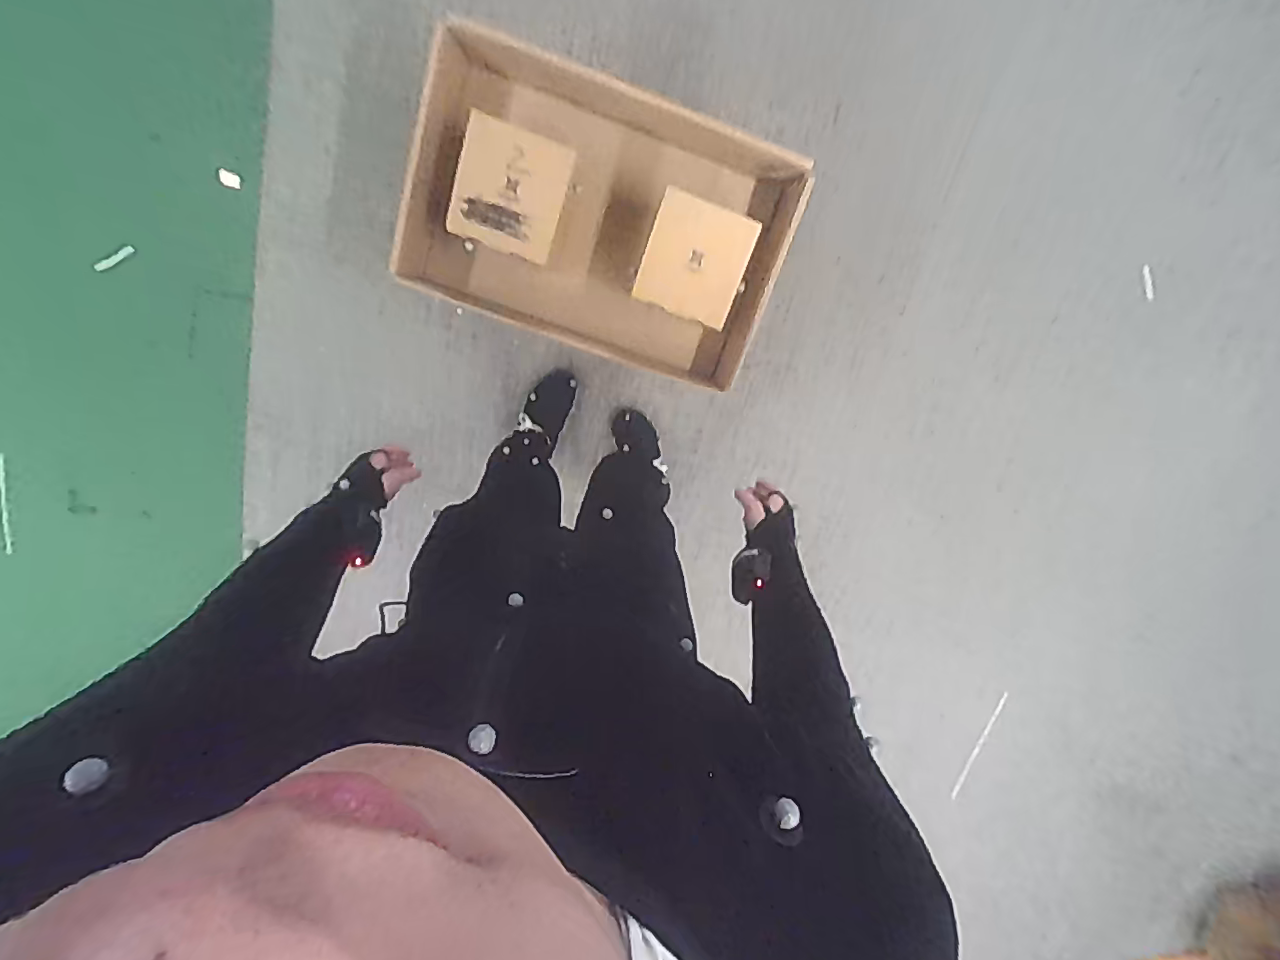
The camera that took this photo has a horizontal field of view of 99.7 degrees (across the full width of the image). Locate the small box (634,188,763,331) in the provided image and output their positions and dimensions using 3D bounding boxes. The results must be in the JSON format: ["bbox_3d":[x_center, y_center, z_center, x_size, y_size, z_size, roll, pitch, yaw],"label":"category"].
[{"bbox_3d":[0.090,-0.378,0.947,0.168,0.176,0.179,18,107,-7],"label":"small box"}]
